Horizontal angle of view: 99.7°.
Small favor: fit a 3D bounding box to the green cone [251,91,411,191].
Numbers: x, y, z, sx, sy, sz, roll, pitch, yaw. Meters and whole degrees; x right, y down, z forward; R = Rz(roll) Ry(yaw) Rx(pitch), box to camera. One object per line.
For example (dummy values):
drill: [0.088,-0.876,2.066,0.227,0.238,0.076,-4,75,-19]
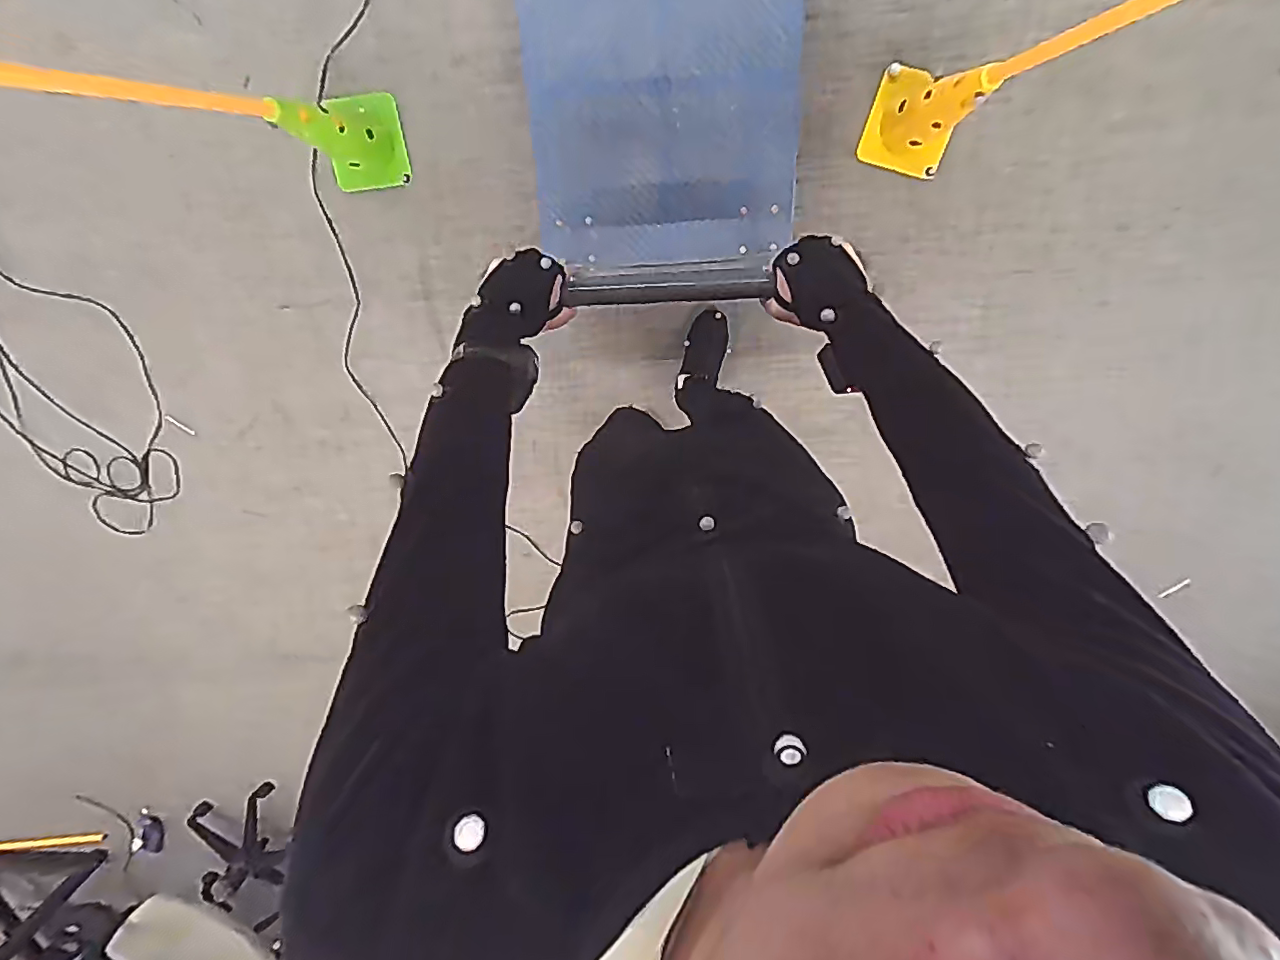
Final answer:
green cone: [-0.704,-0.781,1.196,0.202,0.368,0.200,-4,112,8]
